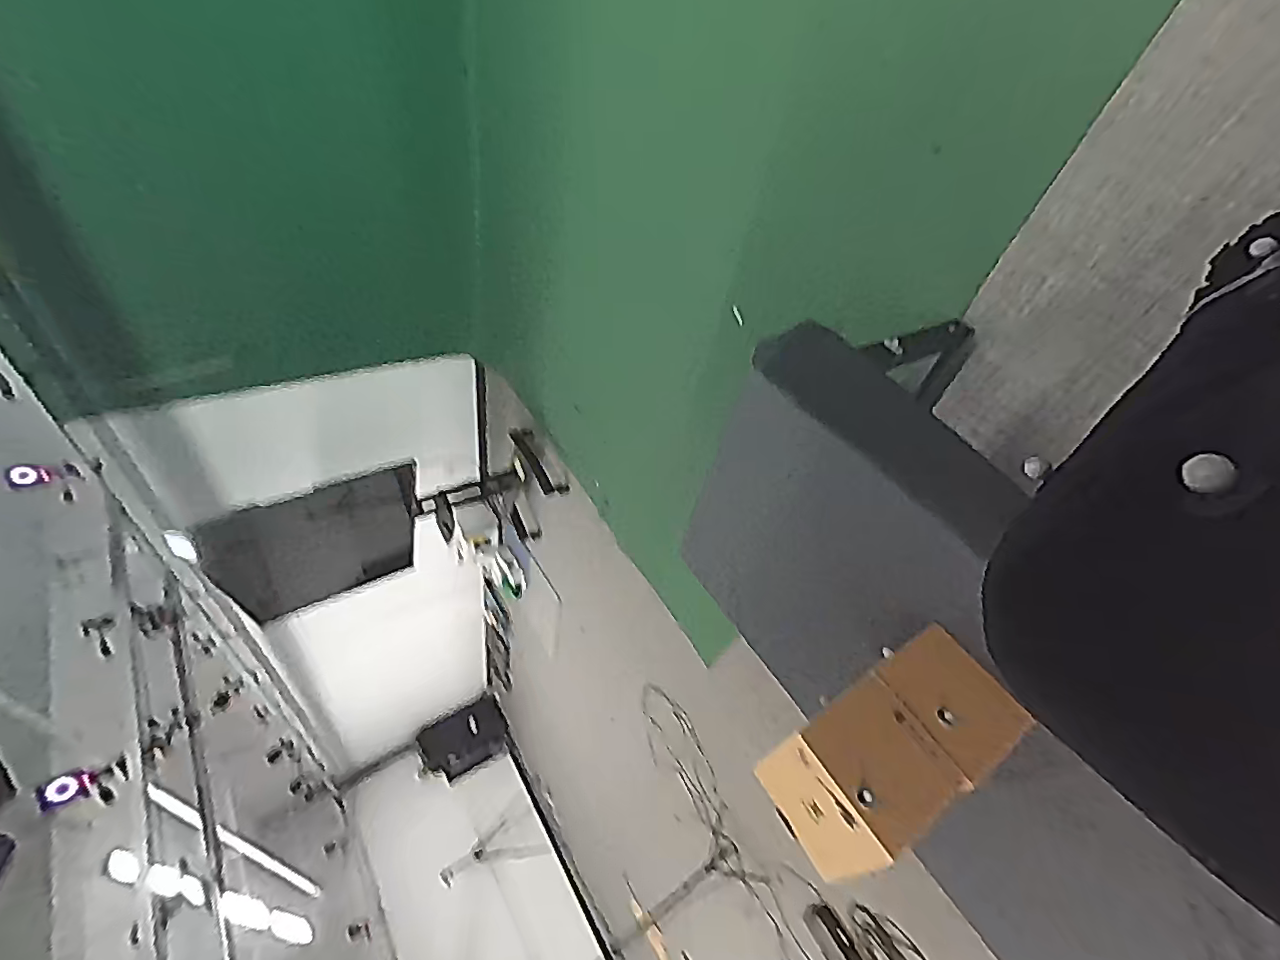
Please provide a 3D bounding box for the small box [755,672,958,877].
[{"bbox_3d":[0.297,0.405,0.755,0.168,0.176,0.179,51,145,33],"label":"small box"}]

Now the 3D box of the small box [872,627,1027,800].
[{"bbox_3d":[0.434,0.361,0.828,0.179,0.176,0.168,52,146,31],"label":"small box"}]
